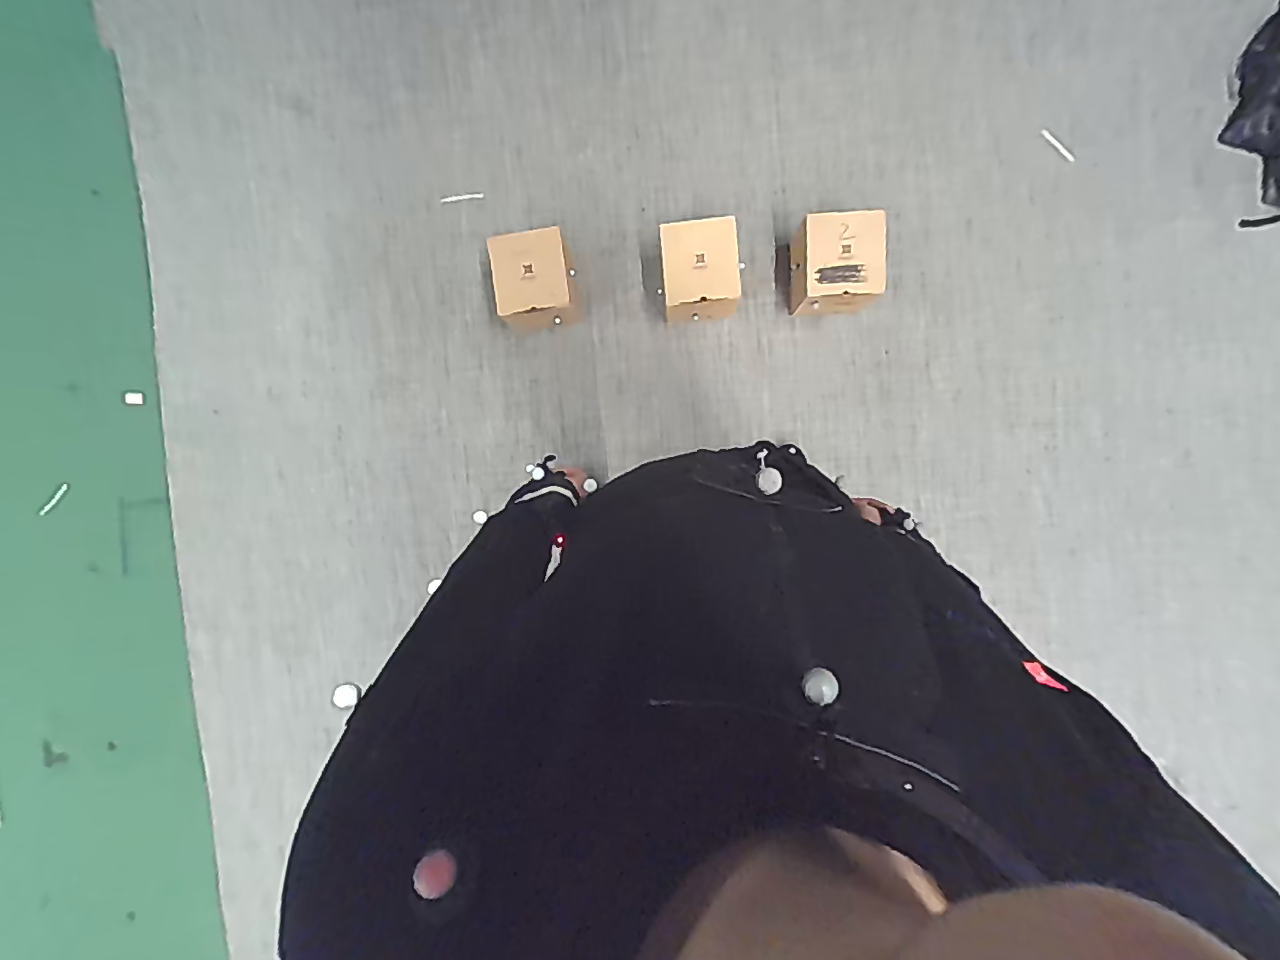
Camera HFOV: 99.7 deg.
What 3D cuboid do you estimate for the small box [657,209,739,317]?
[{"bbox_3d":[0.124,-0.481,1.219,0.168,0.176,0.179,-5,94,3],"label":"small box"}]

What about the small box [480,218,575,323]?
[{"bbox_3d":[-0.250,-0.469,1.242,0.168,0.176,0.179,-8,92,3],"label":"small box"}]
